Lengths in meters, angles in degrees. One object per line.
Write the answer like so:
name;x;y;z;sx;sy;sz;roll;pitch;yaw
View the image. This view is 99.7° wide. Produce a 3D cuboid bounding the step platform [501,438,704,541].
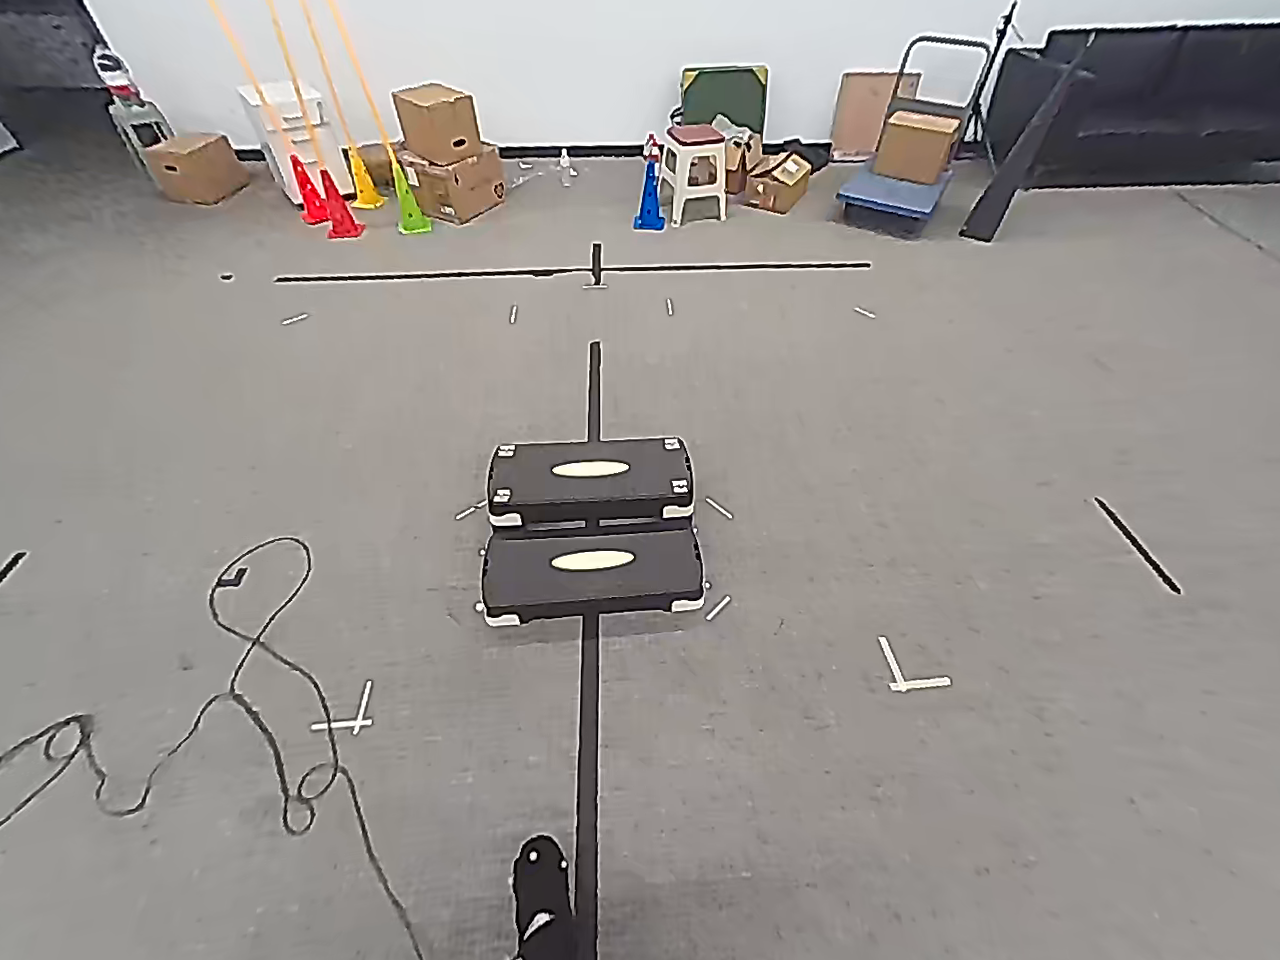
step platform;-0.126;0.023;1.851;0.684;0.204;0.286;-2;48;-4
